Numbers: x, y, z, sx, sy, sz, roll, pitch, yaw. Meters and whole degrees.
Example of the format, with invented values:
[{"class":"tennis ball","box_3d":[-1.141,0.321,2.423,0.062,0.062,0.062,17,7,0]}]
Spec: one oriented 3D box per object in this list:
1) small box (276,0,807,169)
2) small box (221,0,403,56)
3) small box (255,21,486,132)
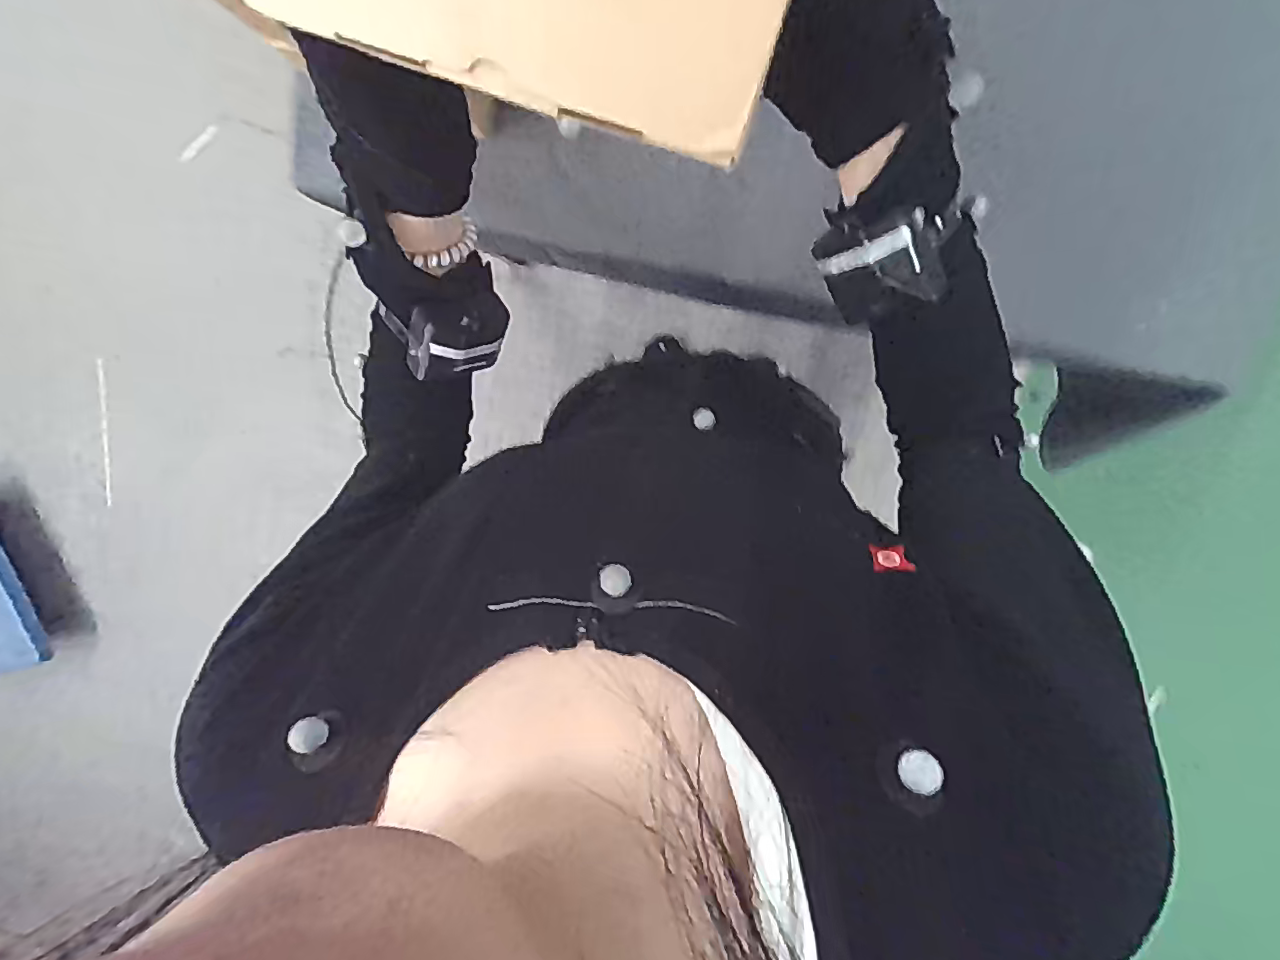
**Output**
[{"class":"small box","box_3d":[-0.007,-0.237,0.195,0.168,0.176,0.179,18,124,0]},{"class":"small box","box_3d":[-0.278,-0.469,0.412,0.168,0.176,0.179,11,105,2]},{"class":"small box","box_3d":[-0.266,-0.506,0.570,0.168,0.176,0.179,11,105,3]}]
